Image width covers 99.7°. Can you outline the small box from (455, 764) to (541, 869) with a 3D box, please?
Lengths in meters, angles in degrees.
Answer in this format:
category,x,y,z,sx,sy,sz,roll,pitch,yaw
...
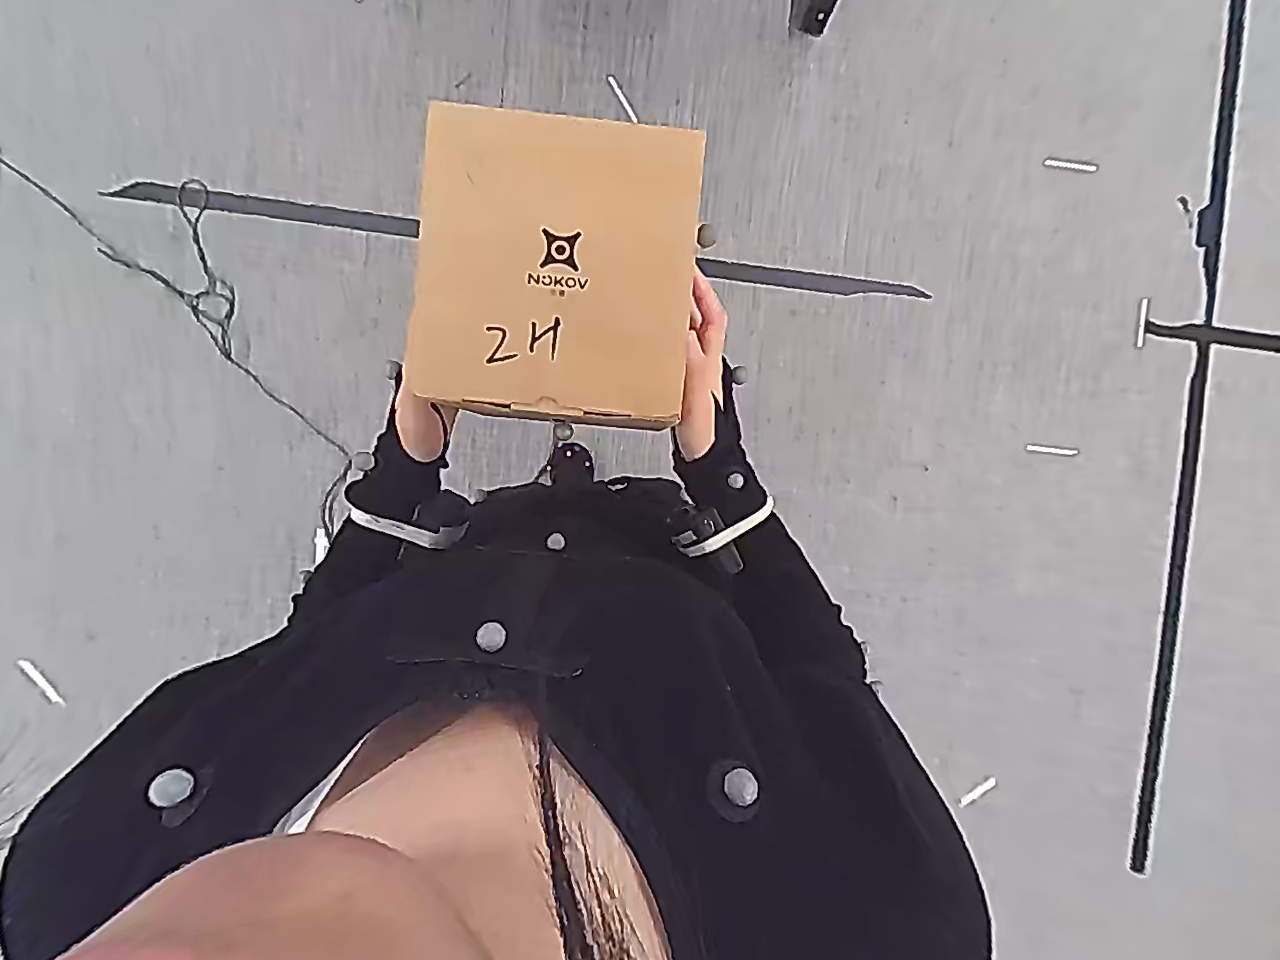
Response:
category,x,y,z,sx,sy,sz,roll,pitch,yaw
small box,-0.363,0.867,1.405,0.179,0.176,0.168,7,91,-5

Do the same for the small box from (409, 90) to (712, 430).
category,x,y,z,sx,sy,sz,roll,pitch,yaw
small box,-0.050,-0.134,0.396,0.168,0.176,0.179,5,93,-2
